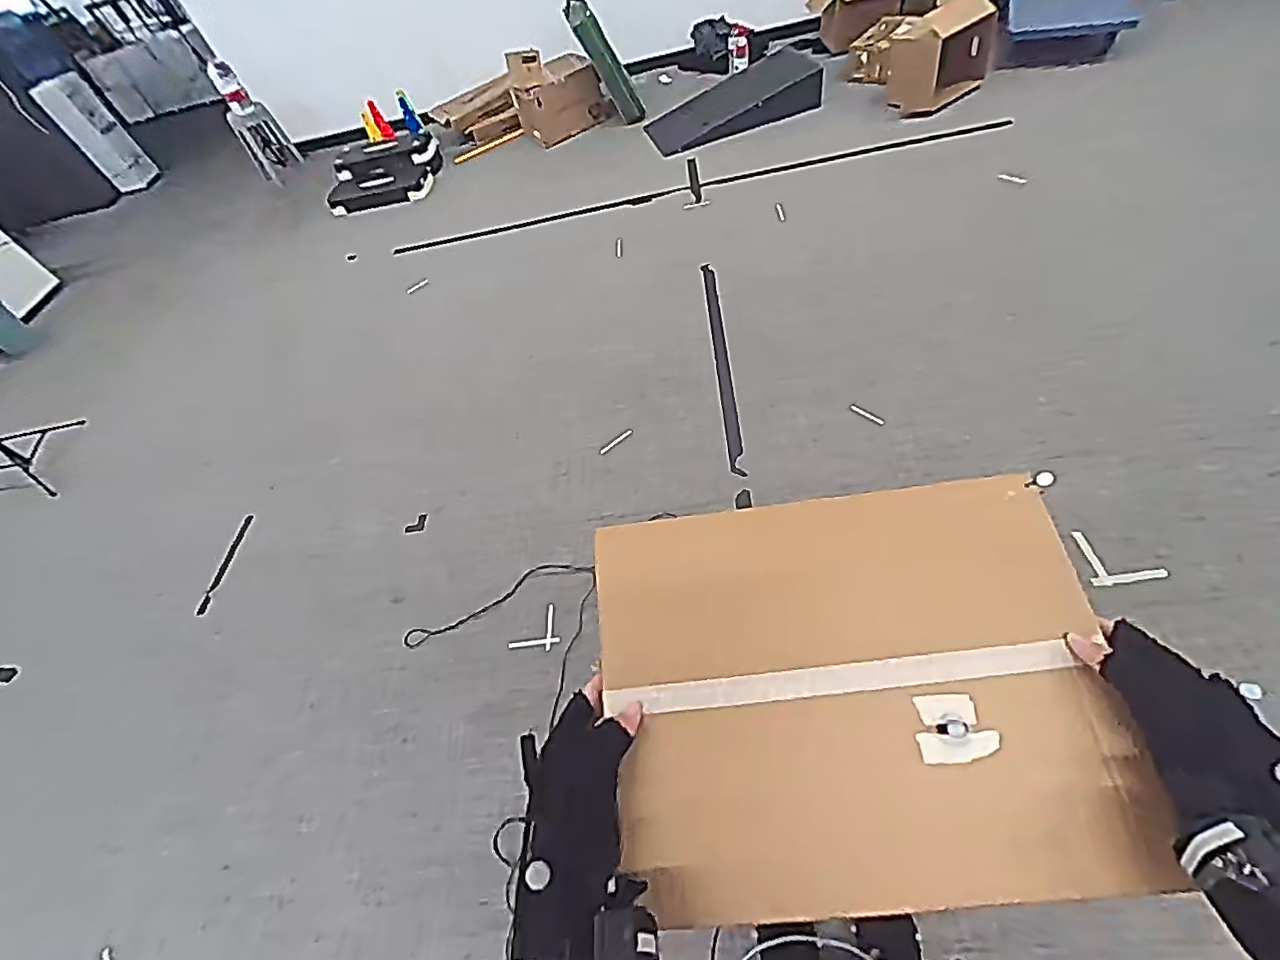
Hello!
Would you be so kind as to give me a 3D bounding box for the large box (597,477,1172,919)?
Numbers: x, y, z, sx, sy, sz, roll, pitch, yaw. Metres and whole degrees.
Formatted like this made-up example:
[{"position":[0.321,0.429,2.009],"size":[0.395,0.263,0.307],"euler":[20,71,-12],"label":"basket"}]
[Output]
[{"position":[0.184,0.225,0.592],"size":[0.408,0.320,0.320],"euler":[-8,65,3],"label":"large box"}]
